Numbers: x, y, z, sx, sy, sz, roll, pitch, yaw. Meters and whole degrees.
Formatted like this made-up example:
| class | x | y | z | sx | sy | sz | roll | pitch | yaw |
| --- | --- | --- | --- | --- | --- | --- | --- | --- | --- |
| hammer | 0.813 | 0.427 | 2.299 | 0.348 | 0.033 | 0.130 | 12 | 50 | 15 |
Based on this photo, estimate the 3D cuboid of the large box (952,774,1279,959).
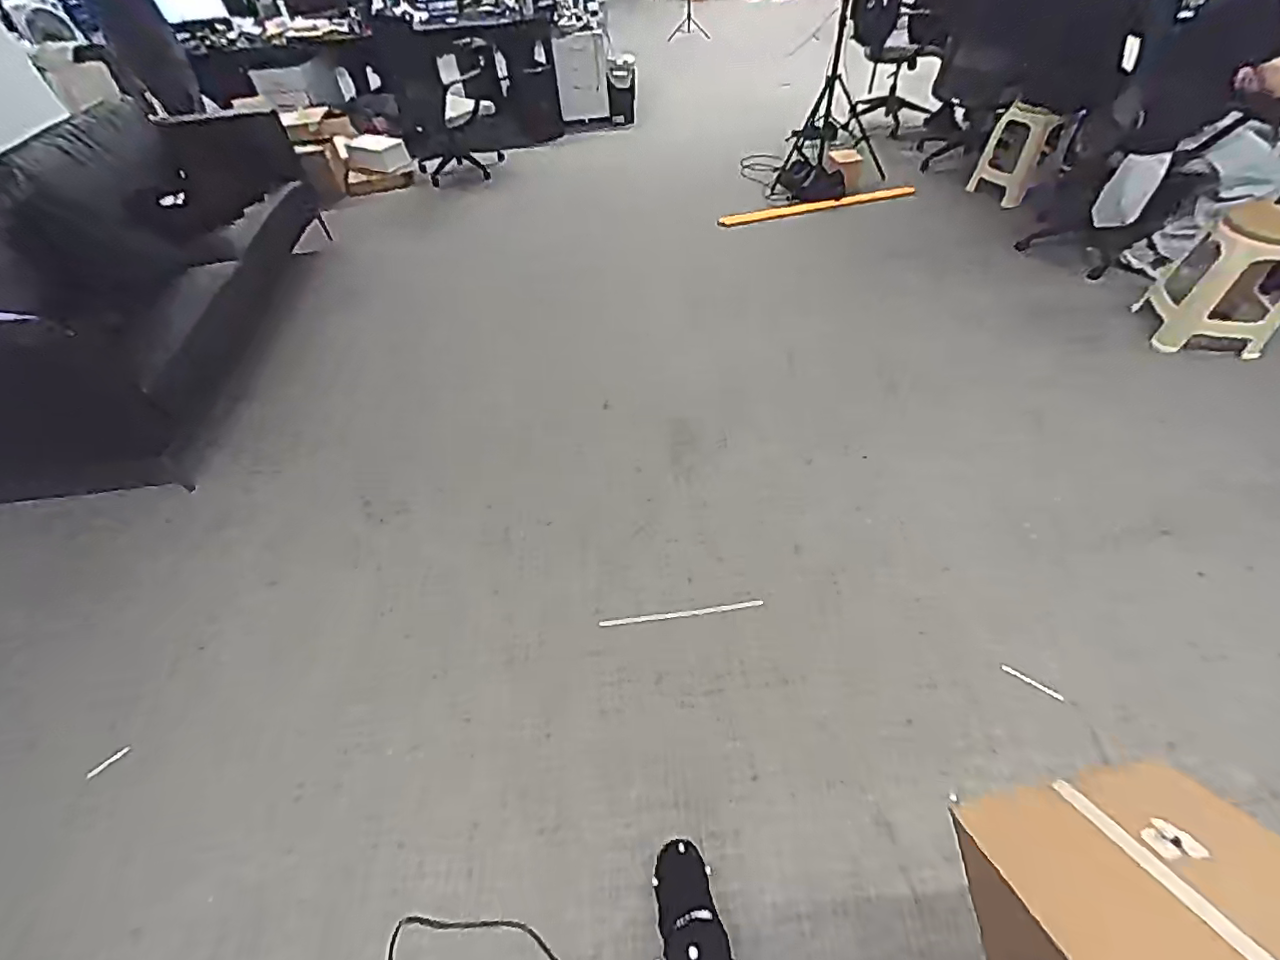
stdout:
| class | x | y | z | sx | sy | sz | roll | pitch | yaw |
| --- | --- | --- | --- | --- | --- | --- | --- | --- | --- |
| large box | 0.646 | 0.626 | 0.612 | 0.320 | 0.408 | 0.320 | -14 | 93 | 3 |
